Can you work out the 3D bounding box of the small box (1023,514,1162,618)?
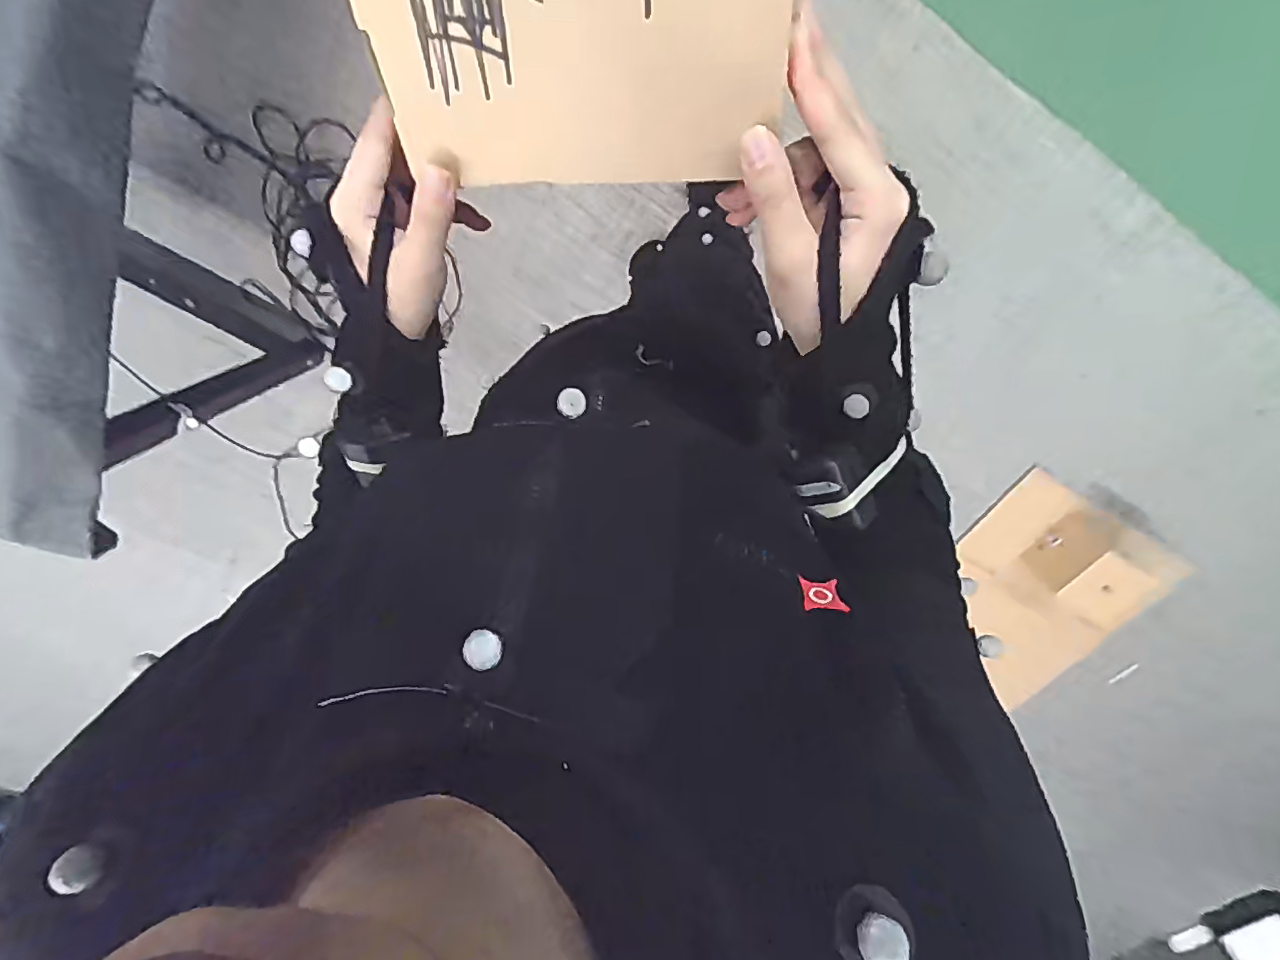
[{"bbox_3d":[1.146,0.214,1.385,0.179,0.176,0.168,27,115,-10],"label":"small box"}]
